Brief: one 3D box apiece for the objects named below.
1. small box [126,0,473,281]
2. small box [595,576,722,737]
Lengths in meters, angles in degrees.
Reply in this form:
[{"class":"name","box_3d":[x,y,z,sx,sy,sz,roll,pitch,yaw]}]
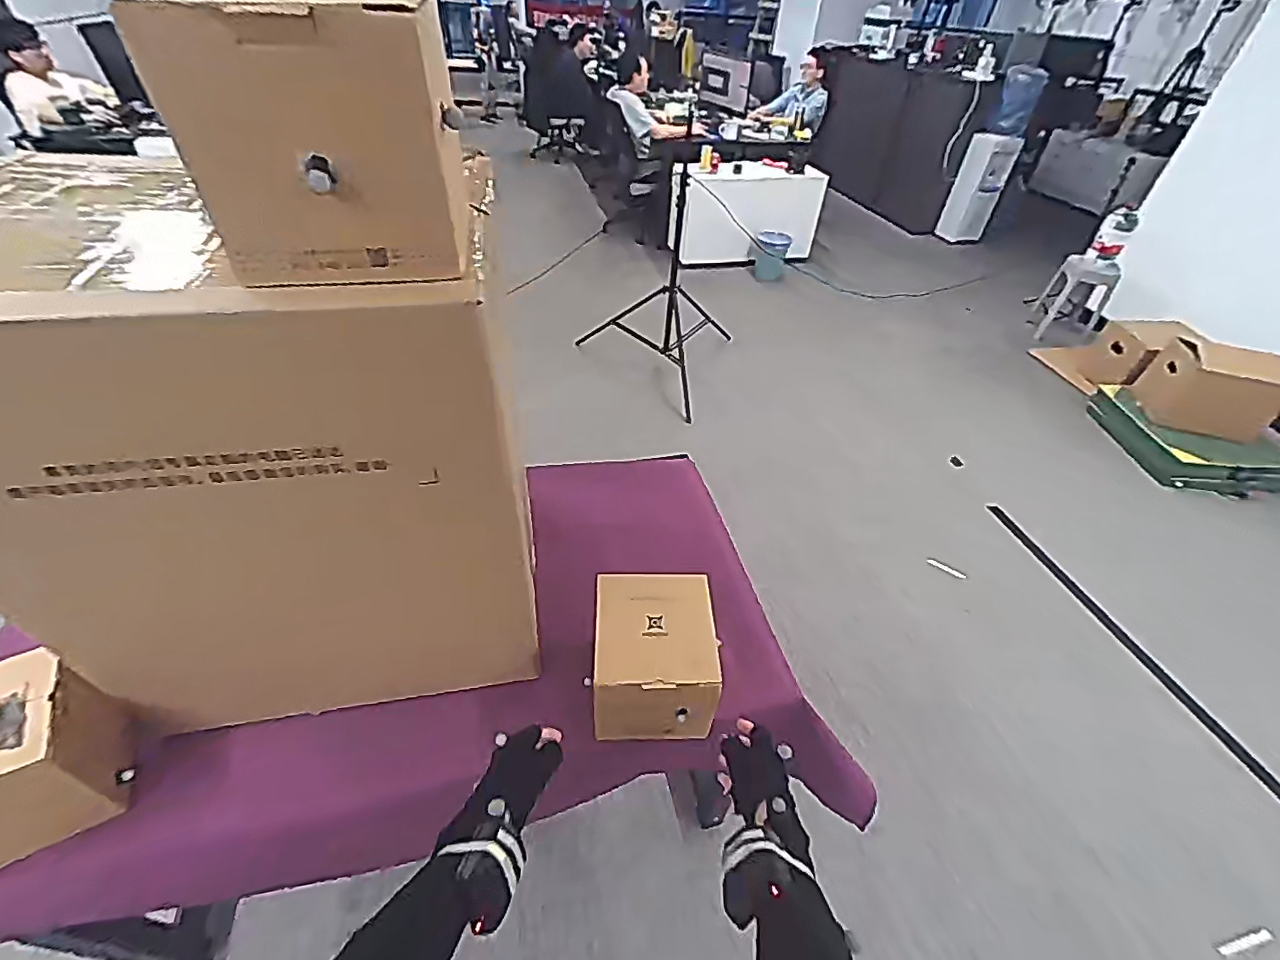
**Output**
[{"class":"small box","box_3d":[-0.231,-0.271,0.431,0.168,0.176,0.179,-6,45,-10]},{"class":"small box","box_3d":[0.018,0.262,0.796,0.168,0.176,0.179,1,41,-4]}]
